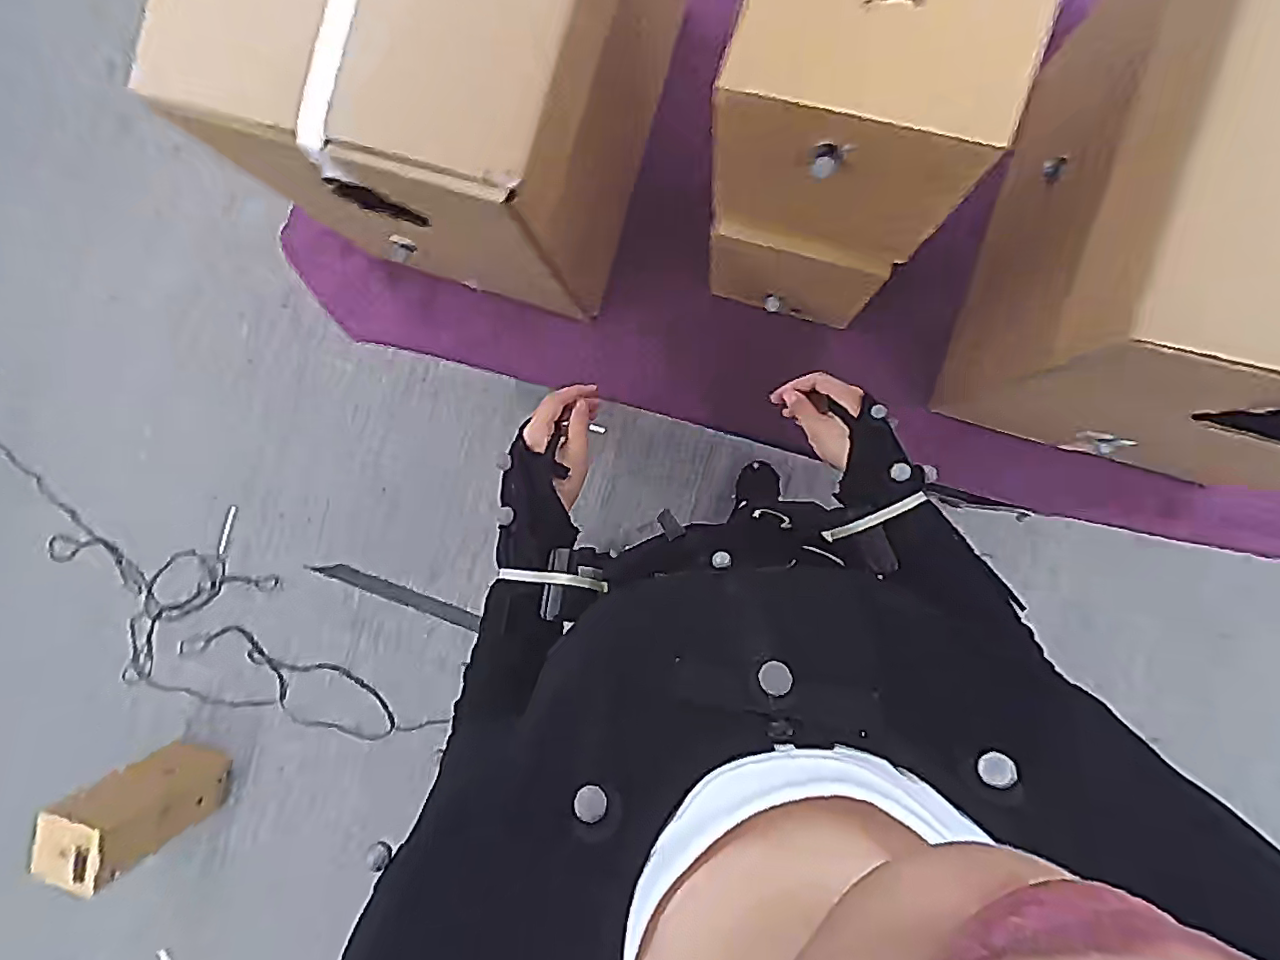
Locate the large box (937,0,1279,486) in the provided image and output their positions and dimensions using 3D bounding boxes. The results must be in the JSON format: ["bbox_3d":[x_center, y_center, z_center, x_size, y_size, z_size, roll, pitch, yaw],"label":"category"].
[{"bbox_3d":[0.510,-0.226,0.447,0.320,0.320,0.408,17,91,7],"label":"large box"}]

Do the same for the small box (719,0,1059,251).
[{"bbox_3d":[0.166,-0.292,0.397,0.179,0.176,0.168,18,92,9],"label":"small box"}]

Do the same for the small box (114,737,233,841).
[{"bbox_3d":[-1.291,0.852,1.509,0.179,0.176,0.168,16,93,8],"label":"small box"}]
